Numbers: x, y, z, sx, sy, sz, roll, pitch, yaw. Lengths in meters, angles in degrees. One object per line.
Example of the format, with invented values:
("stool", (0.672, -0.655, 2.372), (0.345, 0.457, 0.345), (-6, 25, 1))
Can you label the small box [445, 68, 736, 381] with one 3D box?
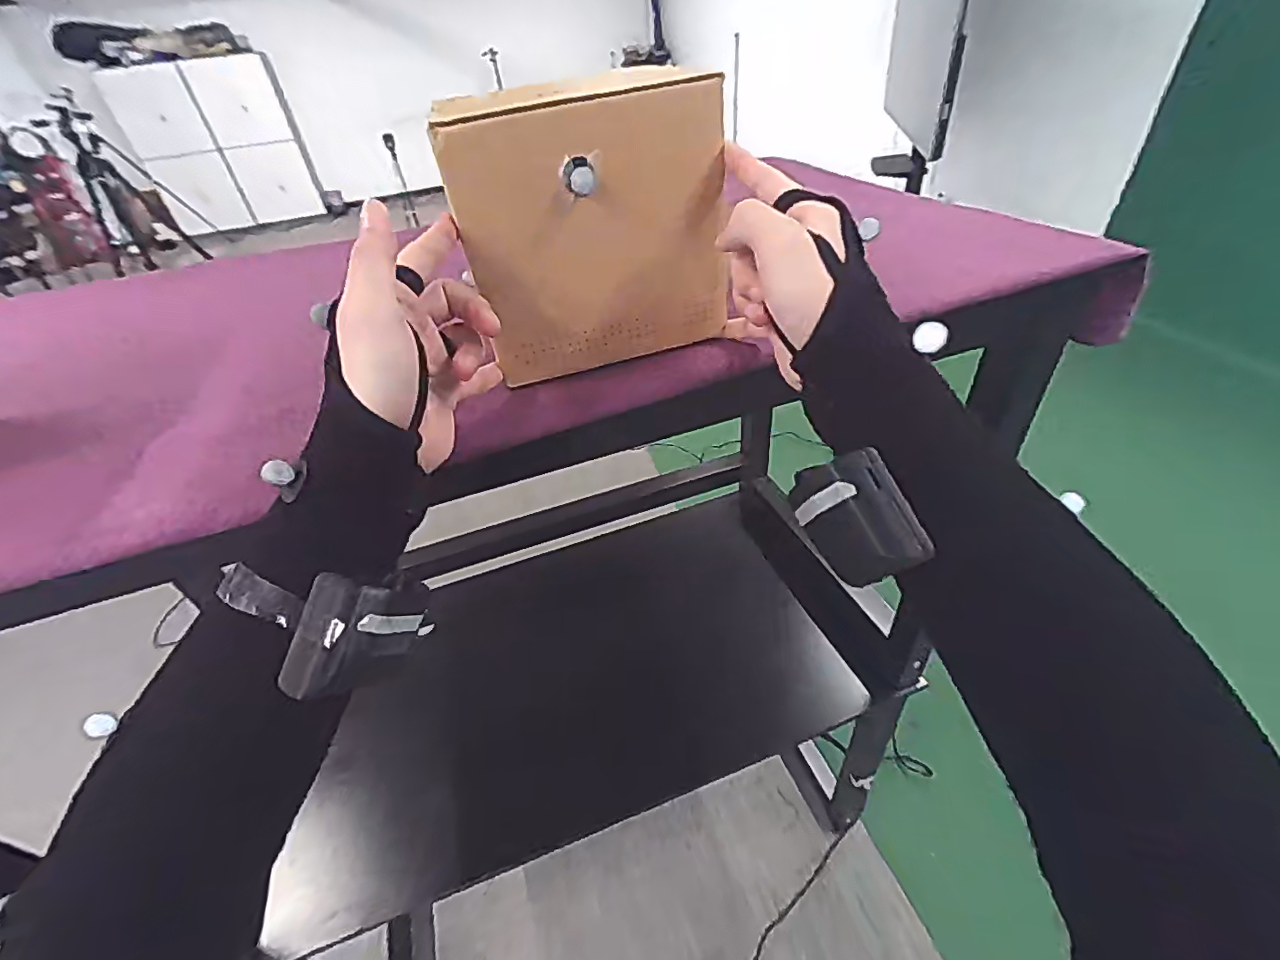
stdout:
("small box", (-0.037, -0.201, 0.422), (0.179, 0.176, 0.168), (-16, 40, -7))
